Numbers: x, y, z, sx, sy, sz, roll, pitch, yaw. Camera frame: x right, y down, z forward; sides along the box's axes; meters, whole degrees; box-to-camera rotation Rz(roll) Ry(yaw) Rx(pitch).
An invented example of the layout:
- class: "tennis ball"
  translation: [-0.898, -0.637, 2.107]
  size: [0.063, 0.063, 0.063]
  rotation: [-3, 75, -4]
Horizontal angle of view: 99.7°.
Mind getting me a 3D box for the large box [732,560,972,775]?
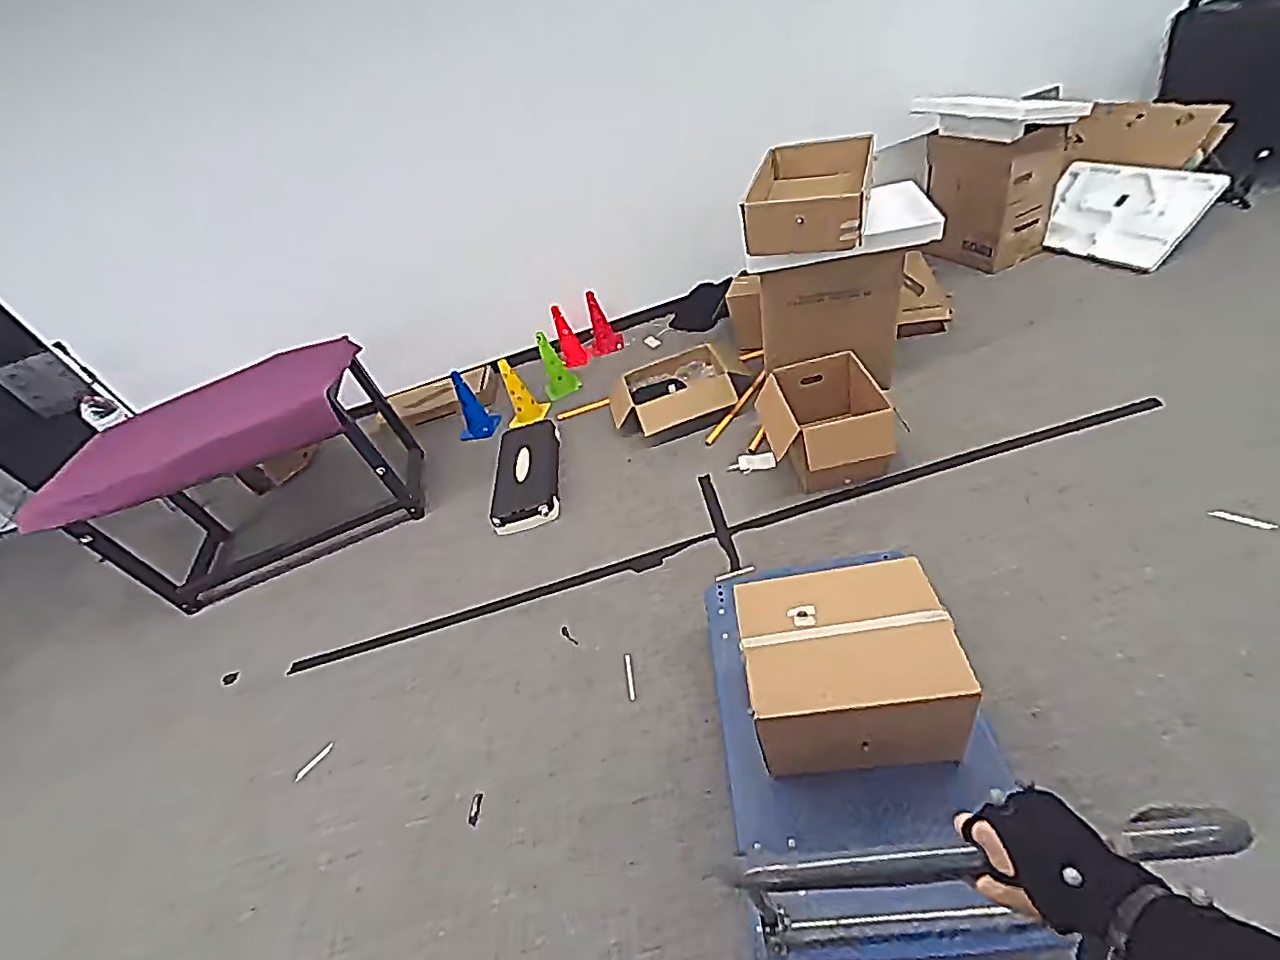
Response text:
- class: "large box"
  translation: [0.449, 0.426, 1.210]
  size: [0.408, 0.320, 0.320]
  rotation: [-13, 40, 10]
